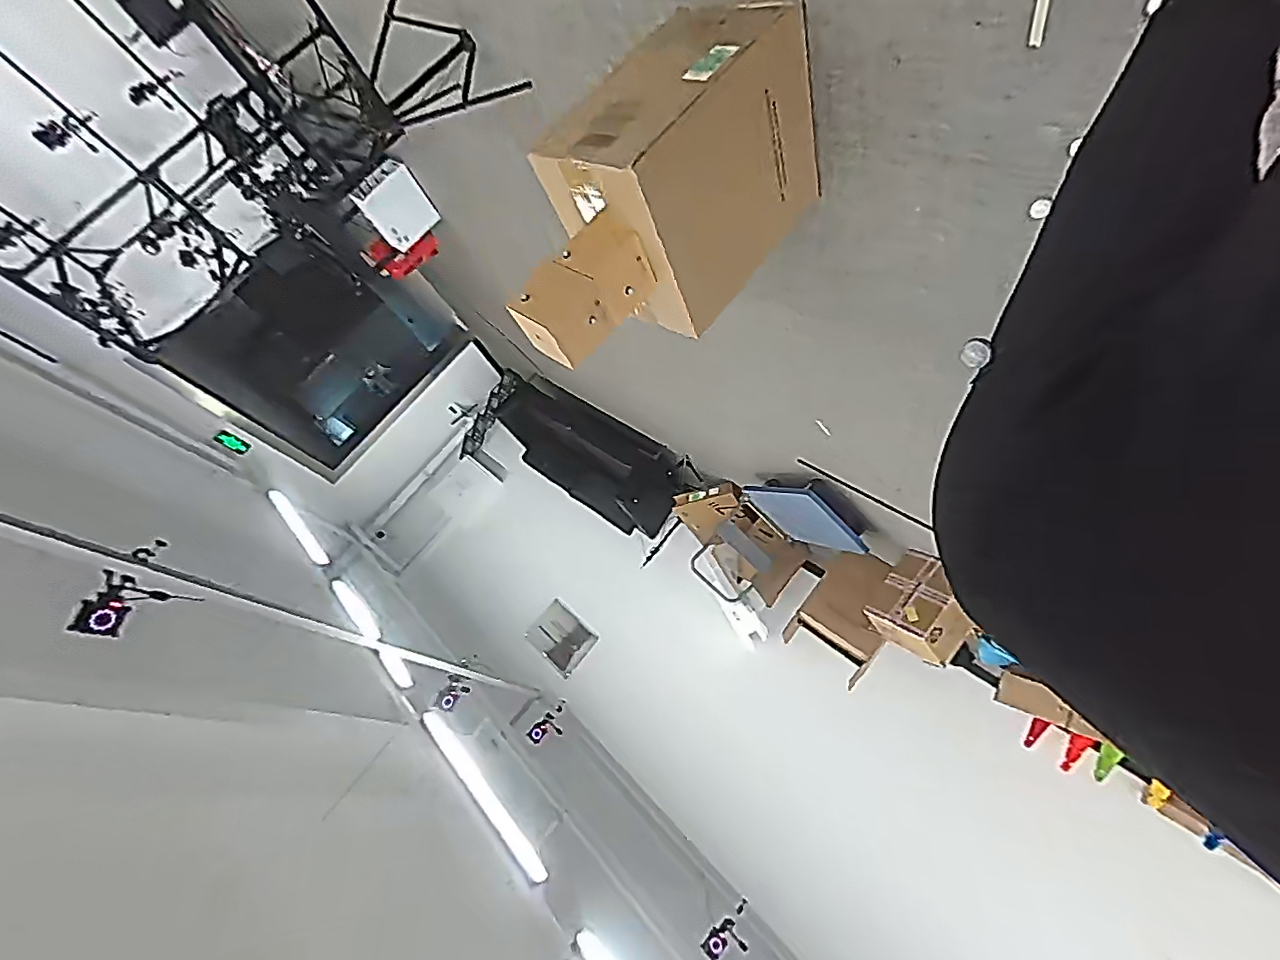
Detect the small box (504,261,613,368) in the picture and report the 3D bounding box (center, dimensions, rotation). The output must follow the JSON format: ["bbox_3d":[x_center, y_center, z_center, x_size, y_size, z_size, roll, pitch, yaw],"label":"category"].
[{"bbox_3d":[-0.199,-0.422,1.366,0.179,0.176,0.168,34,170,31],"label":"small box"}]

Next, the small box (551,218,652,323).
[{"bbox_3d":[-0.089,-0.542,1.392,0.179,0.176,0.168,34,169,33],"label":"small box"}]
